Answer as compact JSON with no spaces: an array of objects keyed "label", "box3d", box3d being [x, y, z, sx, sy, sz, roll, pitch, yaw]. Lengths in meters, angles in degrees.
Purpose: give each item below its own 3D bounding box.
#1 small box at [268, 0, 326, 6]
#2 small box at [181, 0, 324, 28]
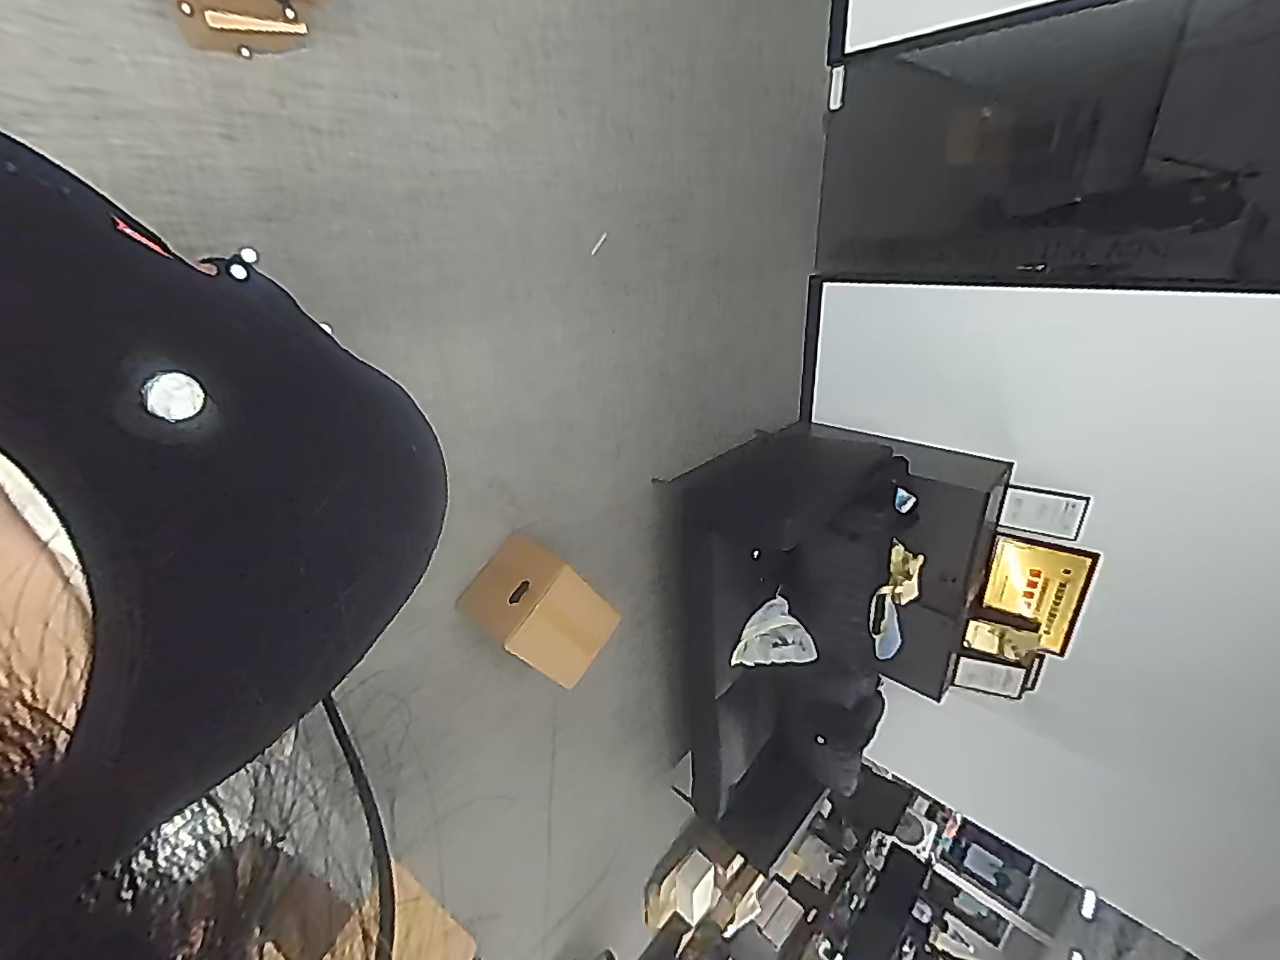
[{"label":"small box","box3d":[-0.545,-0.821,0.779,0.179,0.176,0.168,-28,124,-39]},{"label":"small box","box3d":[-0.659,-0.872,0.885,0.179,0.176,0.168,-27,123,-38]}]
